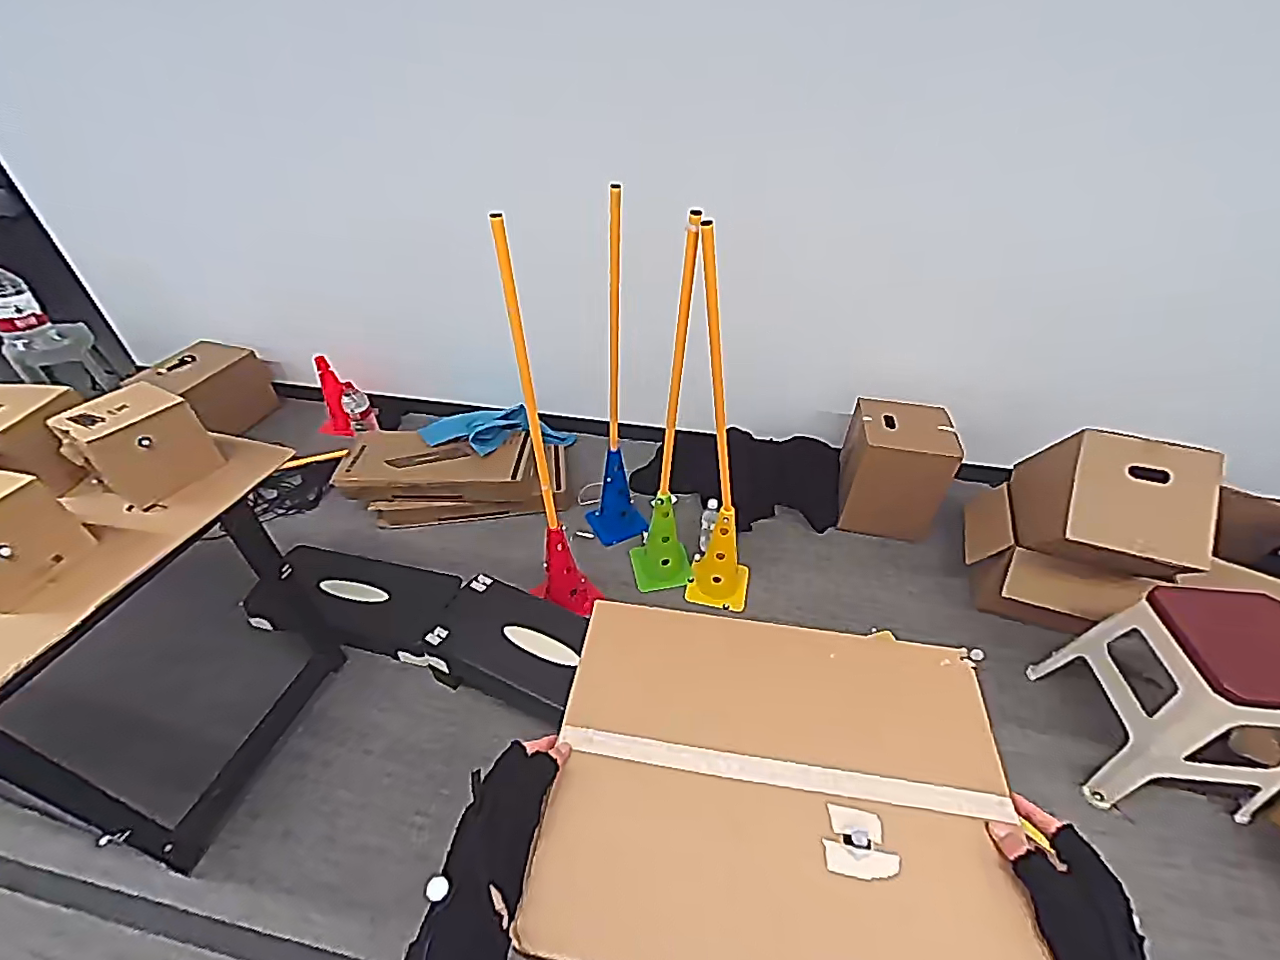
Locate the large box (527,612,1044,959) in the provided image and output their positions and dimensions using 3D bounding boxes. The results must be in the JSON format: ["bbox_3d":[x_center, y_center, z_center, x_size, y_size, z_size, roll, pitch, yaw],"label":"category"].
[{"bbox_3d":[0.128,0.384,0.607,0.408,0.320,0.320,6,45,8],"label":"large box"}]
